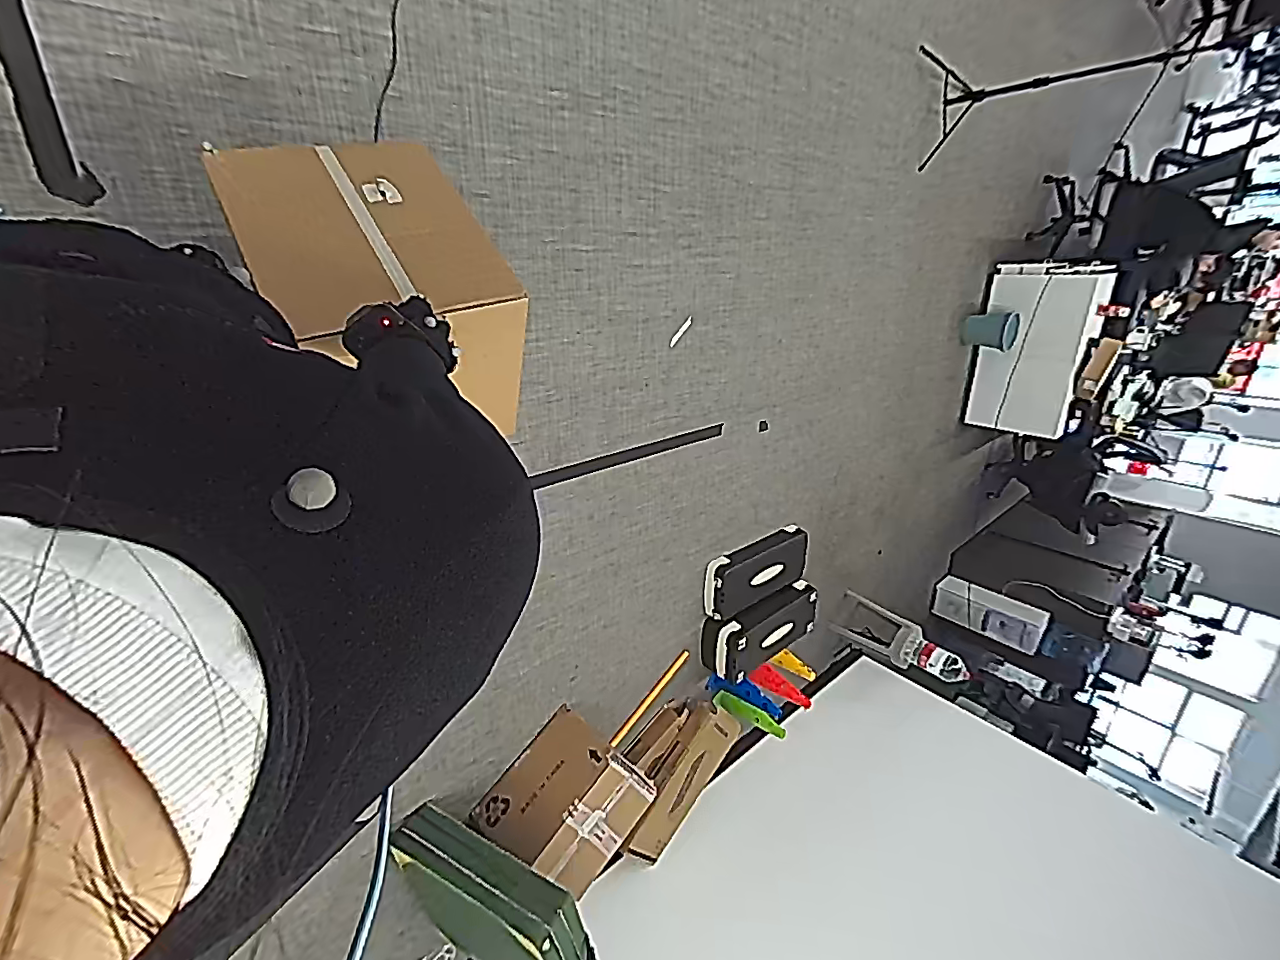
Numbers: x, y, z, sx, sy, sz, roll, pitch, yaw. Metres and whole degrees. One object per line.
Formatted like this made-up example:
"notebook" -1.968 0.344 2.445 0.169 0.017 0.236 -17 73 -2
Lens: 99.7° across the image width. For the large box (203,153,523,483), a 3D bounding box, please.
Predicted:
"large box" -0.431 -0.271 0.895 0.320 0.408 0.320 -23 155 -30
